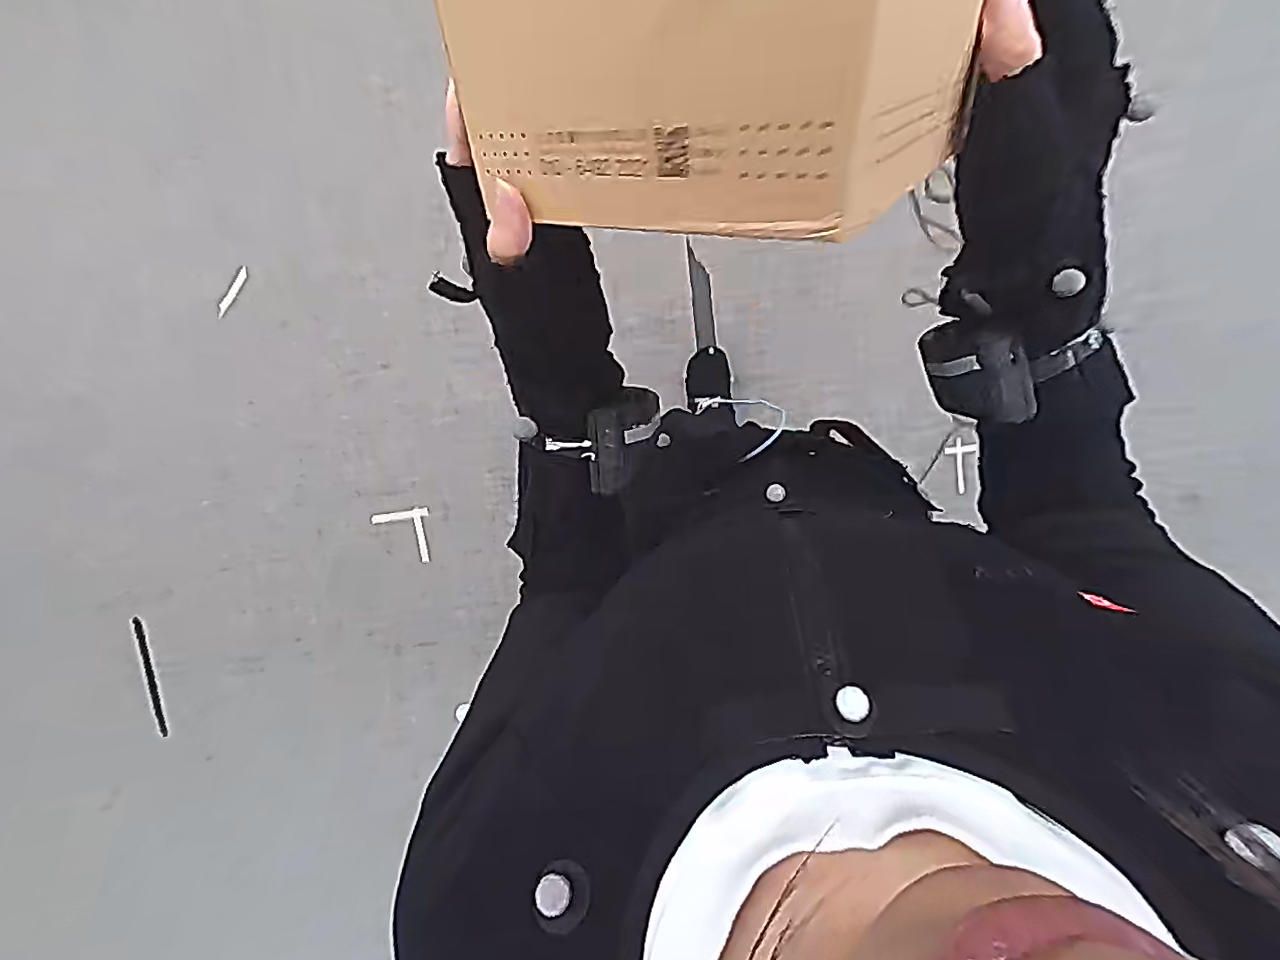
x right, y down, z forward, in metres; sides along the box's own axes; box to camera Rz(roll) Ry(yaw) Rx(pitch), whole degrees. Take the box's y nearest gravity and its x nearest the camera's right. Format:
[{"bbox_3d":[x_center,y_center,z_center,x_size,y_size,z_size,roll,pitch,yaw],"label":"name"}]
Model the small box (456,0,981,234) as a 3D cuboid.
[{"bbox_3d":[0.039,-0.208,0.216,0.168,0.179,0.176,18,133,29],"label":"small box"}]
